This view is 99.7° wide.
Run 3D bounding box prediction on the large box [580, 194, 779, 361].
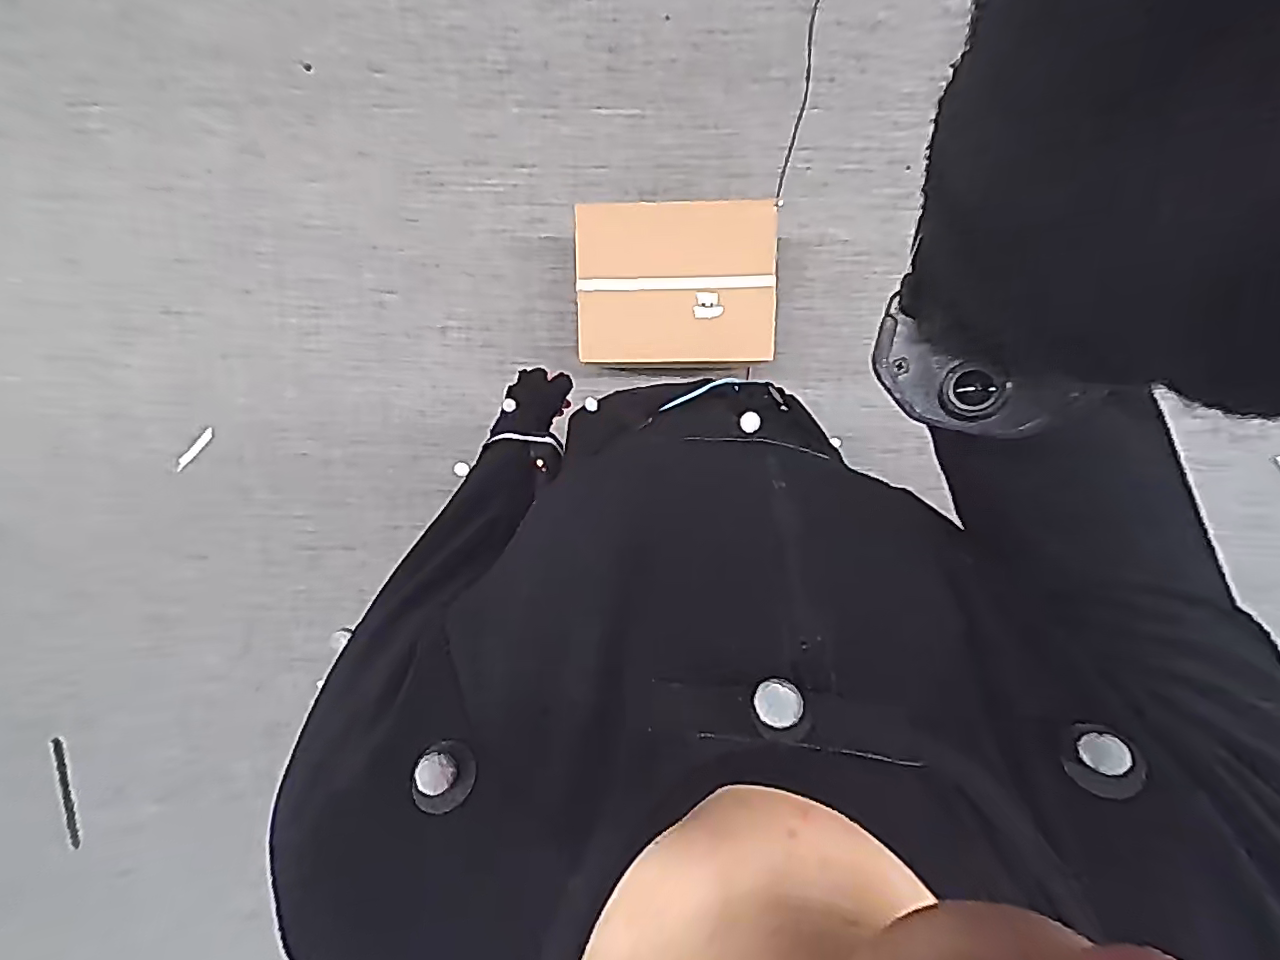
[{"bbox_3d":[0.082,-0.442,1.249,0.408,0.320,0.320,1,101,2],"label":"large box"}]
